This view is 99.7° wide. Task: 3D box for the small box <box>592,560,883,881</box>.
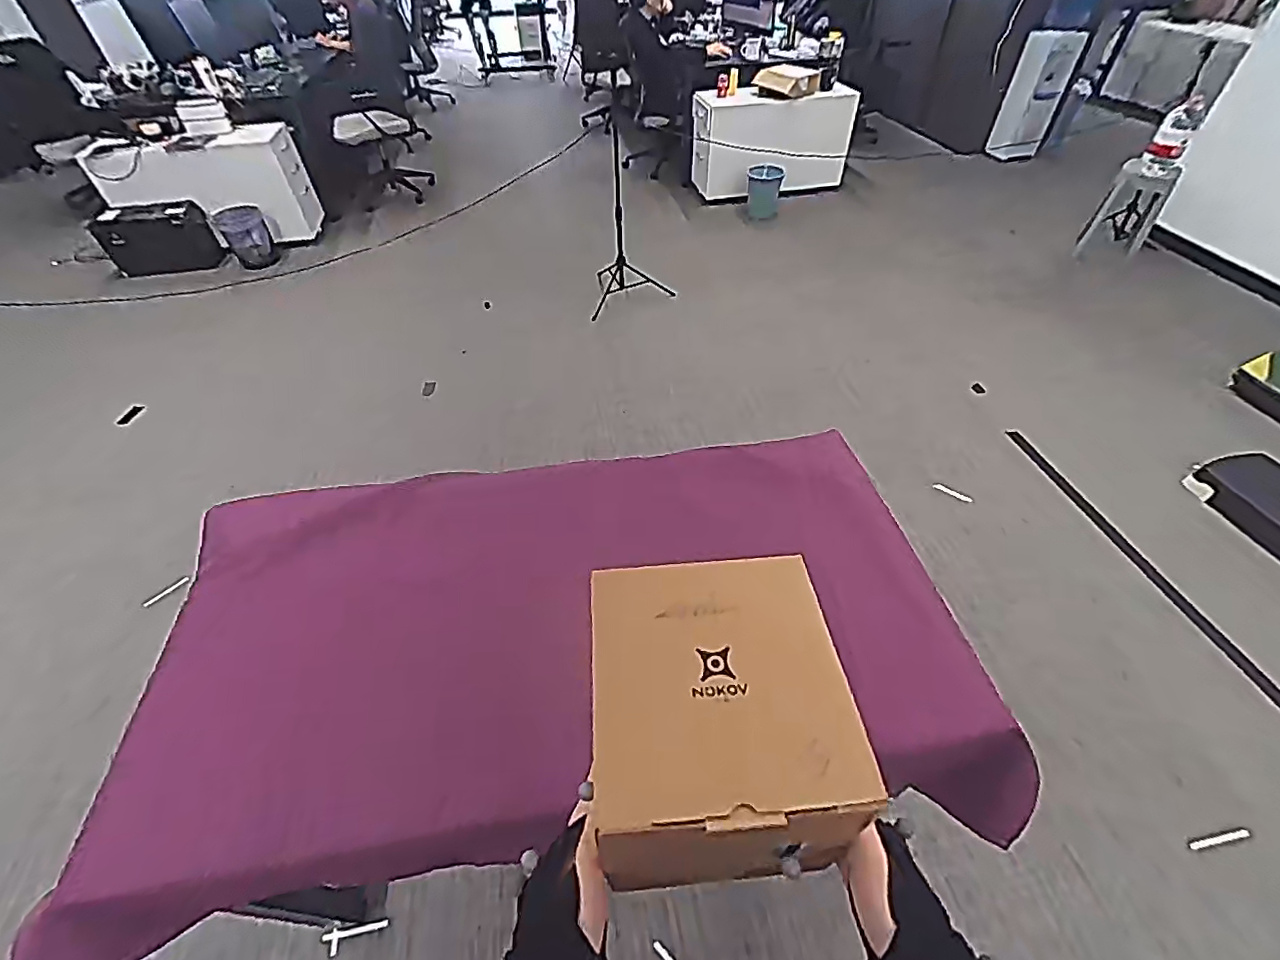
[{"bbox_3d":[0.052,0.184,0.411,0.168,0.176,0.179,-4,44,-2],"label":"small box"}]
